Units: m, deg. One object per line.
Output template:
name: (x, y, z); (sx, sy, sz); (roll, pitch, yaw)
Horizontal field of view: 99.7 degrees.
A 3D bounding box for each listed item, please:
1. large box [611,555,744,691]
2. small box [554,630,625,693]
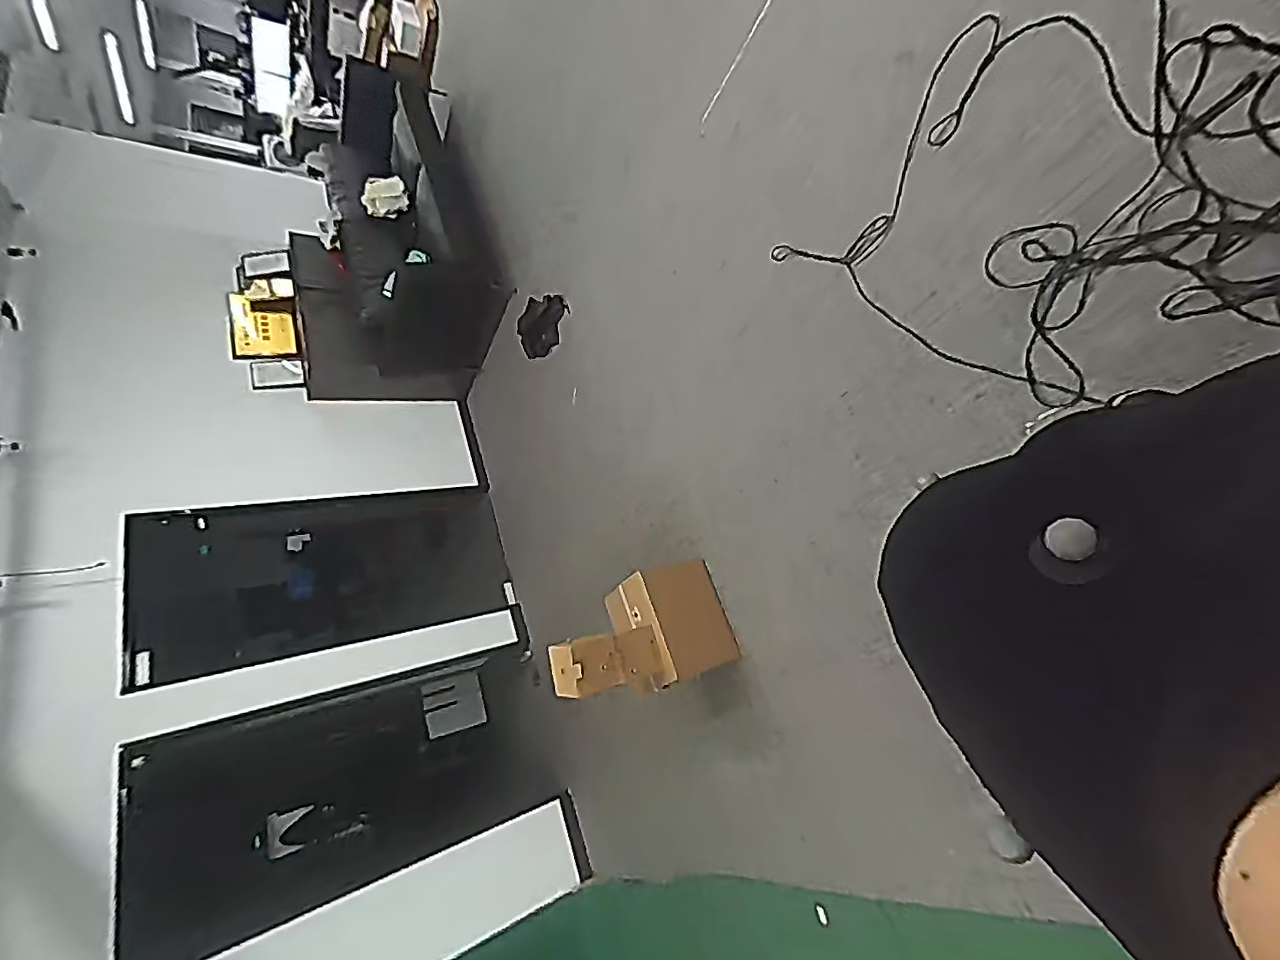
large box: (0.137, 0.549, 2.097); (0.320, 0.320, 0.408); (-46, 56, 47)
small box: (-0.172, 0.612, 1.834); (0.179, 0.176, 0.168); (-26, 72, 53)
